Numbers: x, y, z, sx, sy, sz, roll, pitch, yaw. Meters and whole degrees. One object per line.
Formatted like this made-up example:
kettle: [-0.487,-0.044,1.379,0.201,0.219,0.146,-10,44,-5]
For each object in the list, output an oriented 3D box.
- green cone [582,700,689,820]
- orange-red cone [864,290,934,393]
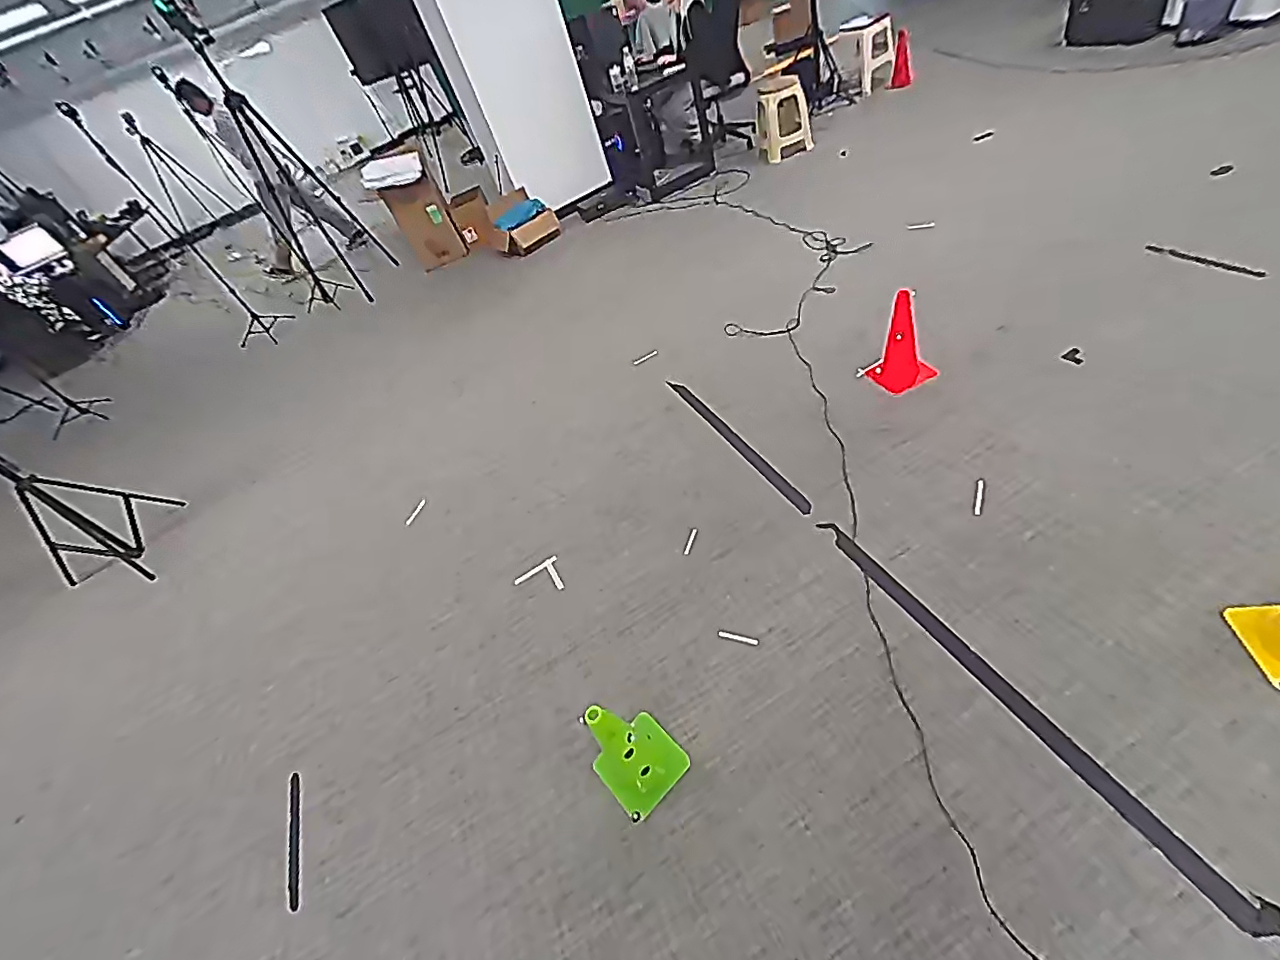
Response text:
green cone: [-0.049,0.621,1.294,0.200,0.368,0.202,-41,44,-19]
orange-red cone: [0.962,-0.533,2.000,0.198,0.360,0.199,-26,44,-1]
